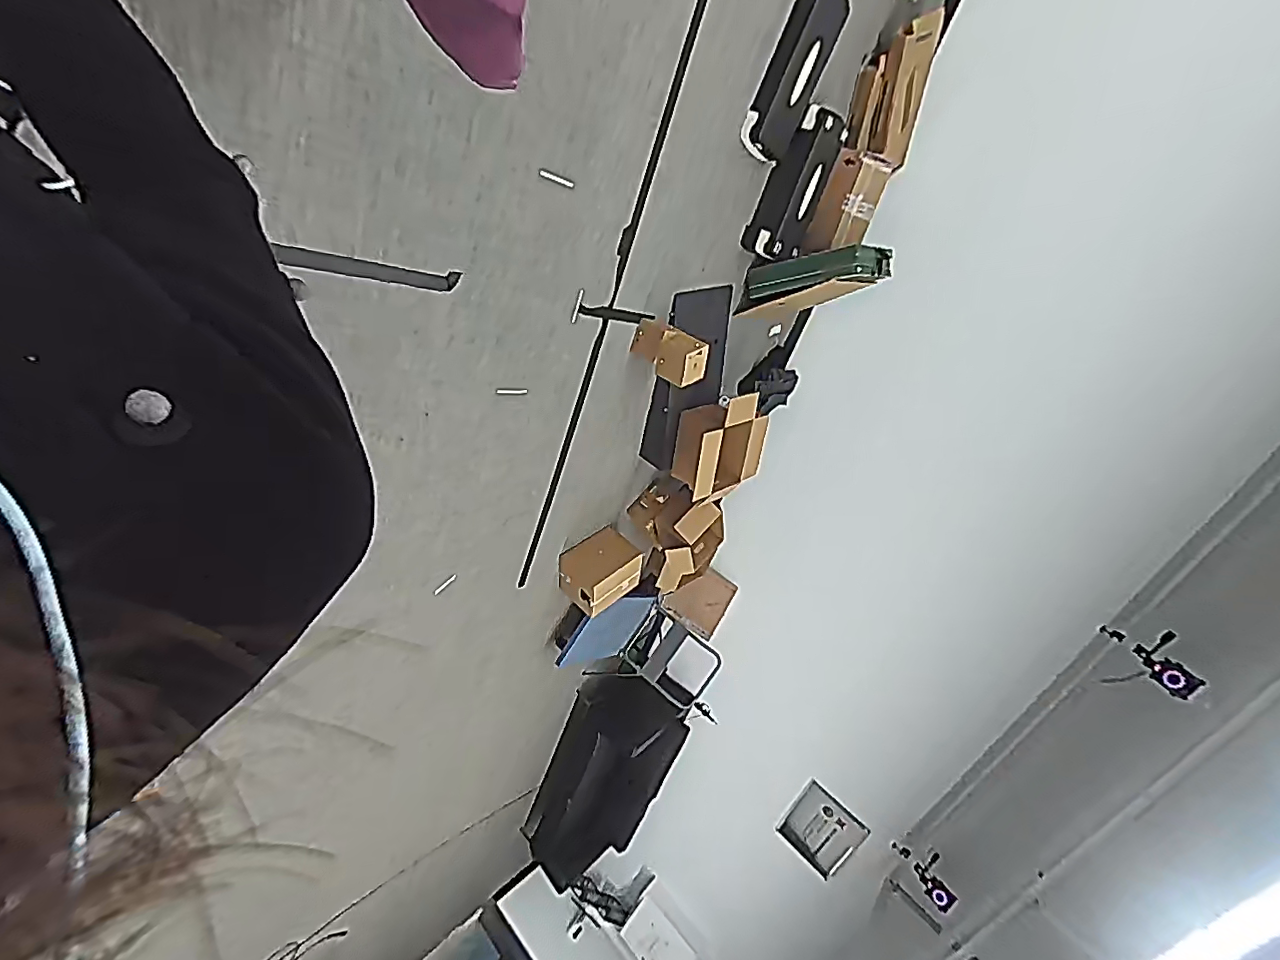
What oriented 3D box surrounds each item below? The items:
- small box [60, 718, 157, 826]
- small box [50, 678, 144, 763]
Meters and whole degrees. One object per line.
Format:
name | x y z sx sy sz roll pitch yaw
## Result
small box | -1.510 0.822 1.539 0.168 0.176 0.179 -15 132 -51
small box | -1.624 0.735 1.619 0.179 0.176 0.168 -16 133 -51
